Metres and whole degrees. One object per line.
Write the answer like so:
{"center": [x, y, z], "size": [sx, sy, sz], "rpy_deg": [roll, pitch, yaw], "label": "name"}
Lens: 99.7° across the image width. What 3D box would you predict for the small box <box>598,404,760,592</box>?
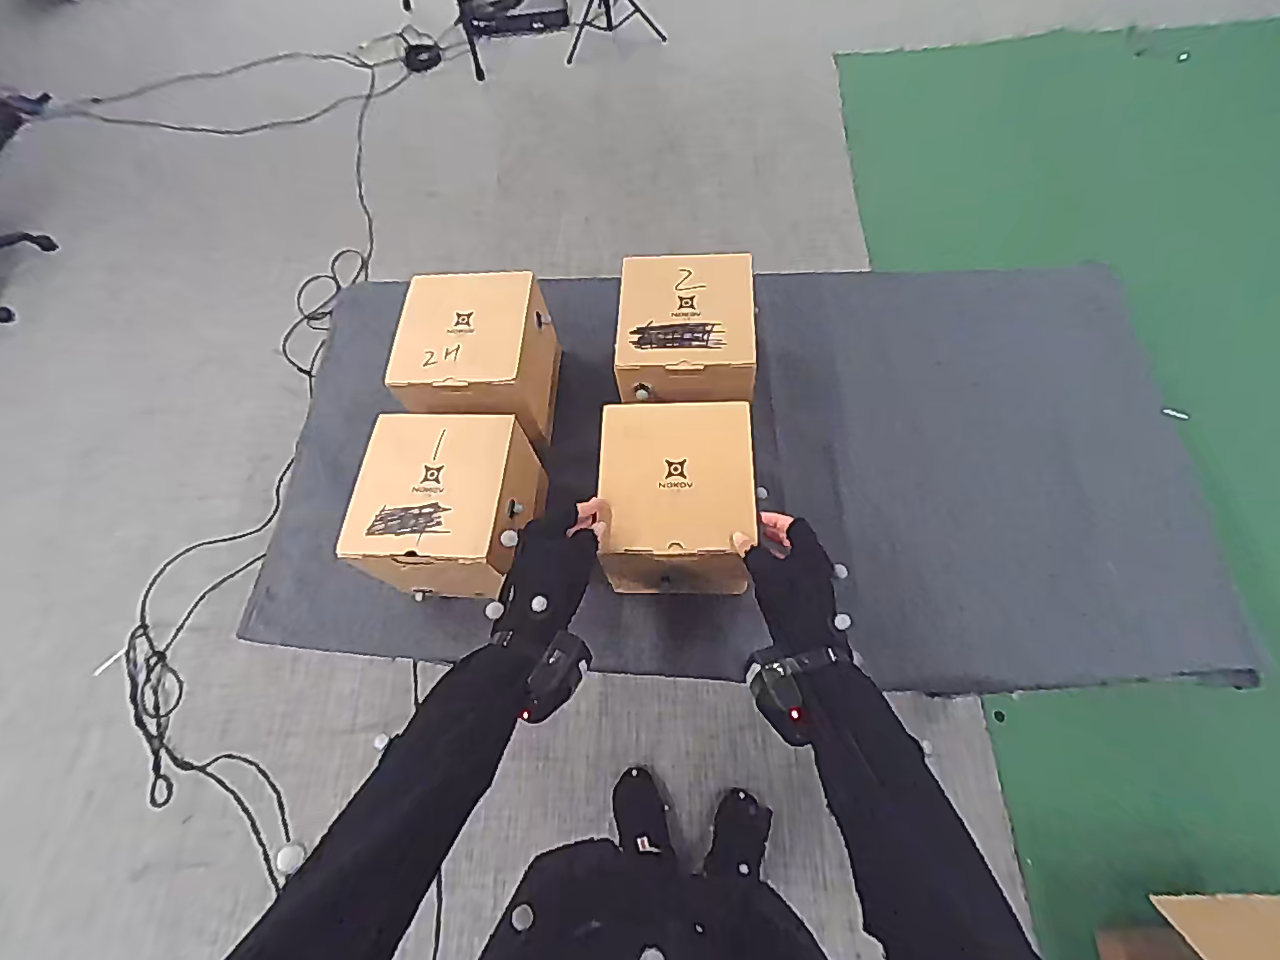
{"center": [0.046, 0.027, 0.645], "size": [0.168, 0.176, 0.179], "rpy_deg": [-1, 66, 5], "label": "small box"}
